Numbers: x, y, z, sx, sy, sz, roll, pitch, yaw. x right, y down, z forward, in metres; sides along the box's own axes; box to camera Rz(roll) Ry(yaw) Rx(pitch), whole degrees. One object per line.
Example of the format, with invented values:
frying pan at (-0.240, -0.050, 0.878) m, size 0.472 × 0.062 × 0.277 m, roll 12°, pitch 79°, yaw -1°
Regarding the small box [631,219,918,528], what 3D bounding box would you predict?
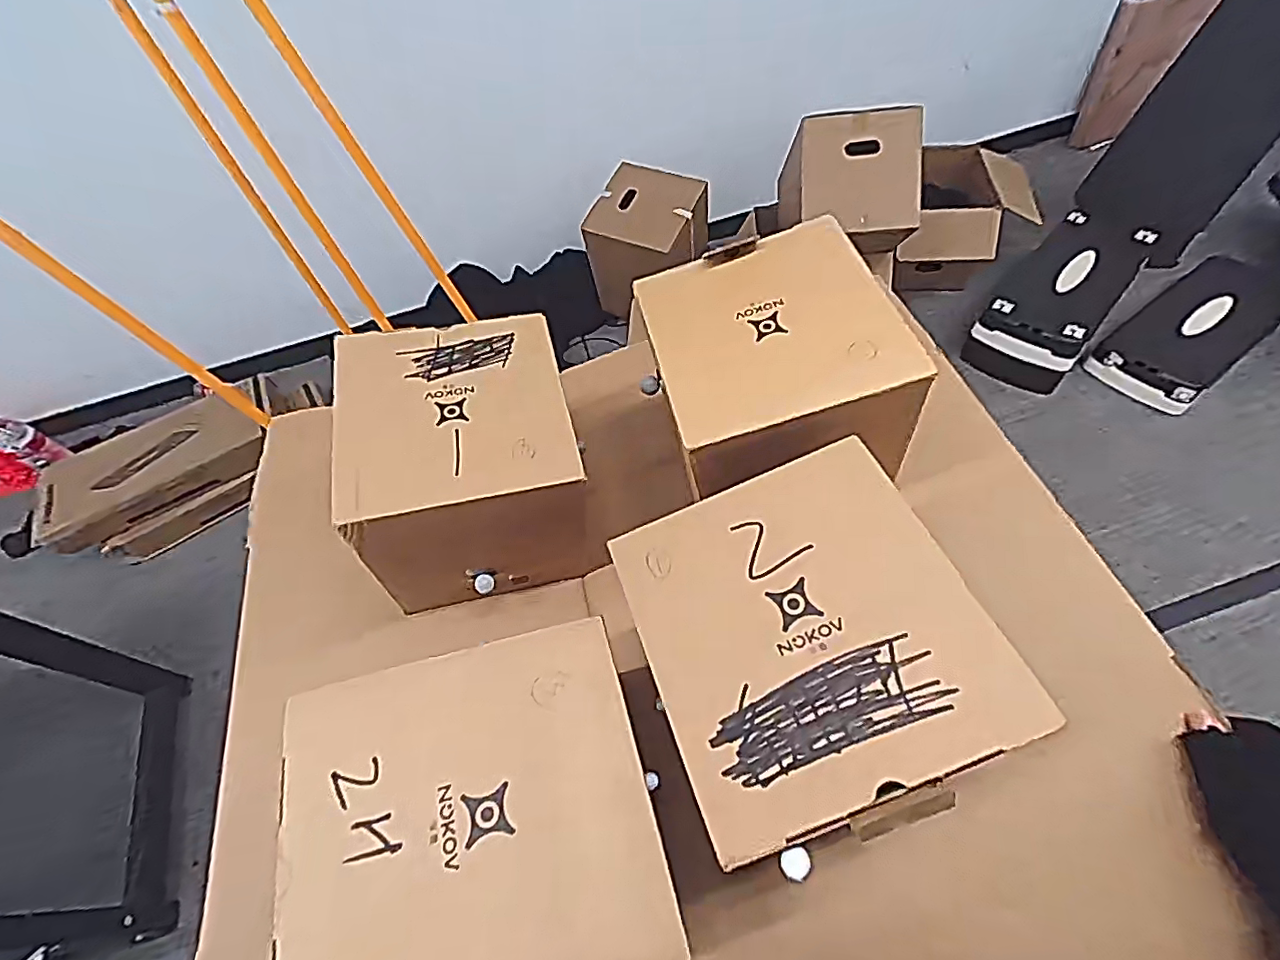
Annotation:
small box at (0.104, -0.075, 0.461) m, size 0.168 × 0.176 × 0.179 m, roll -17°, pitch 57°, yaw 5°
